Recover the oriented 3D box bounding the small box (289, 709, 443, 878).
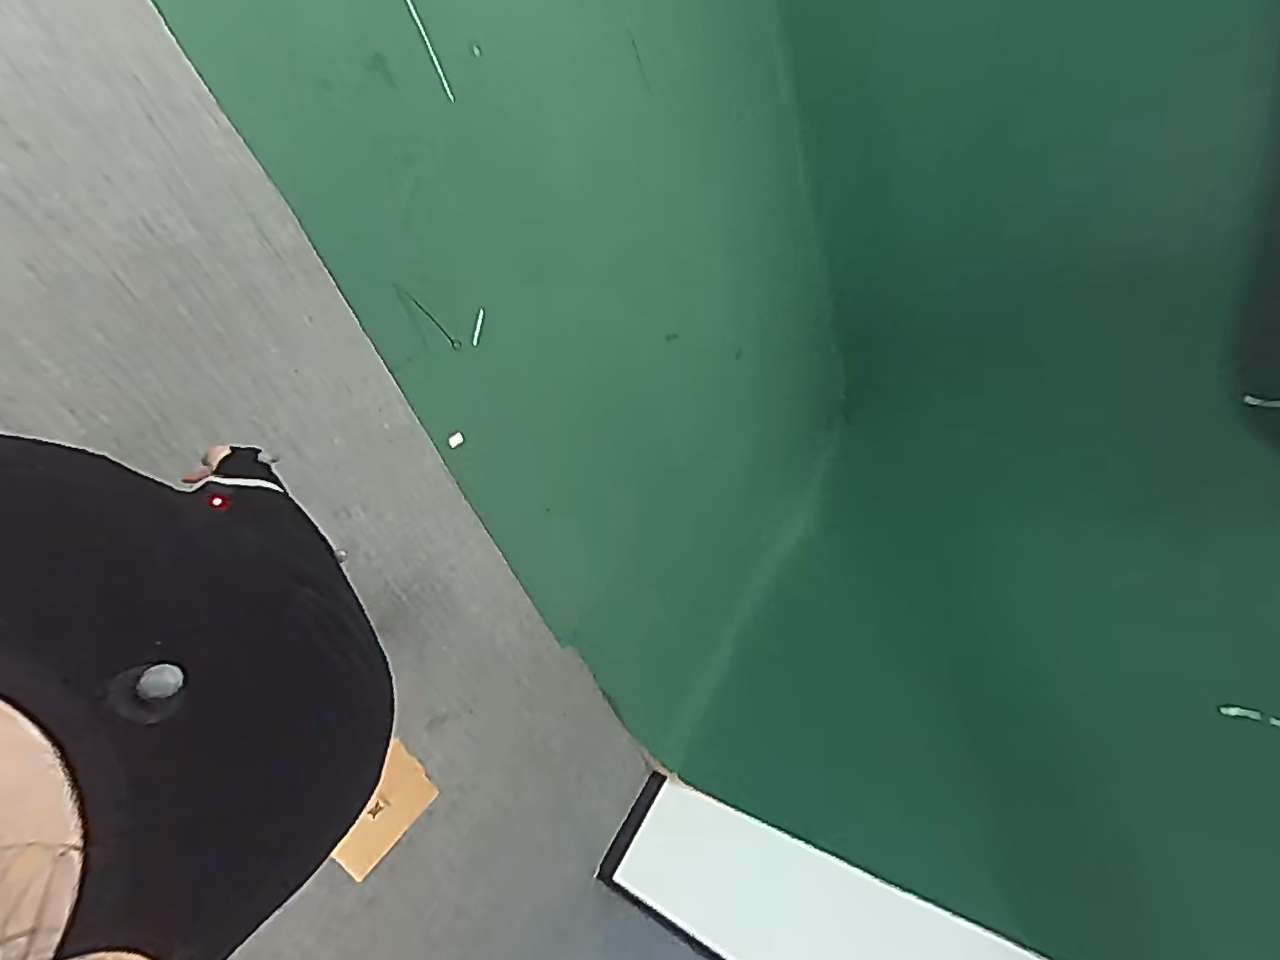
[{"bbox_3d":[-0.506,0.561,0.989,0.179,0.176,0.168,-43,123,-40],"label":"small box"}]
